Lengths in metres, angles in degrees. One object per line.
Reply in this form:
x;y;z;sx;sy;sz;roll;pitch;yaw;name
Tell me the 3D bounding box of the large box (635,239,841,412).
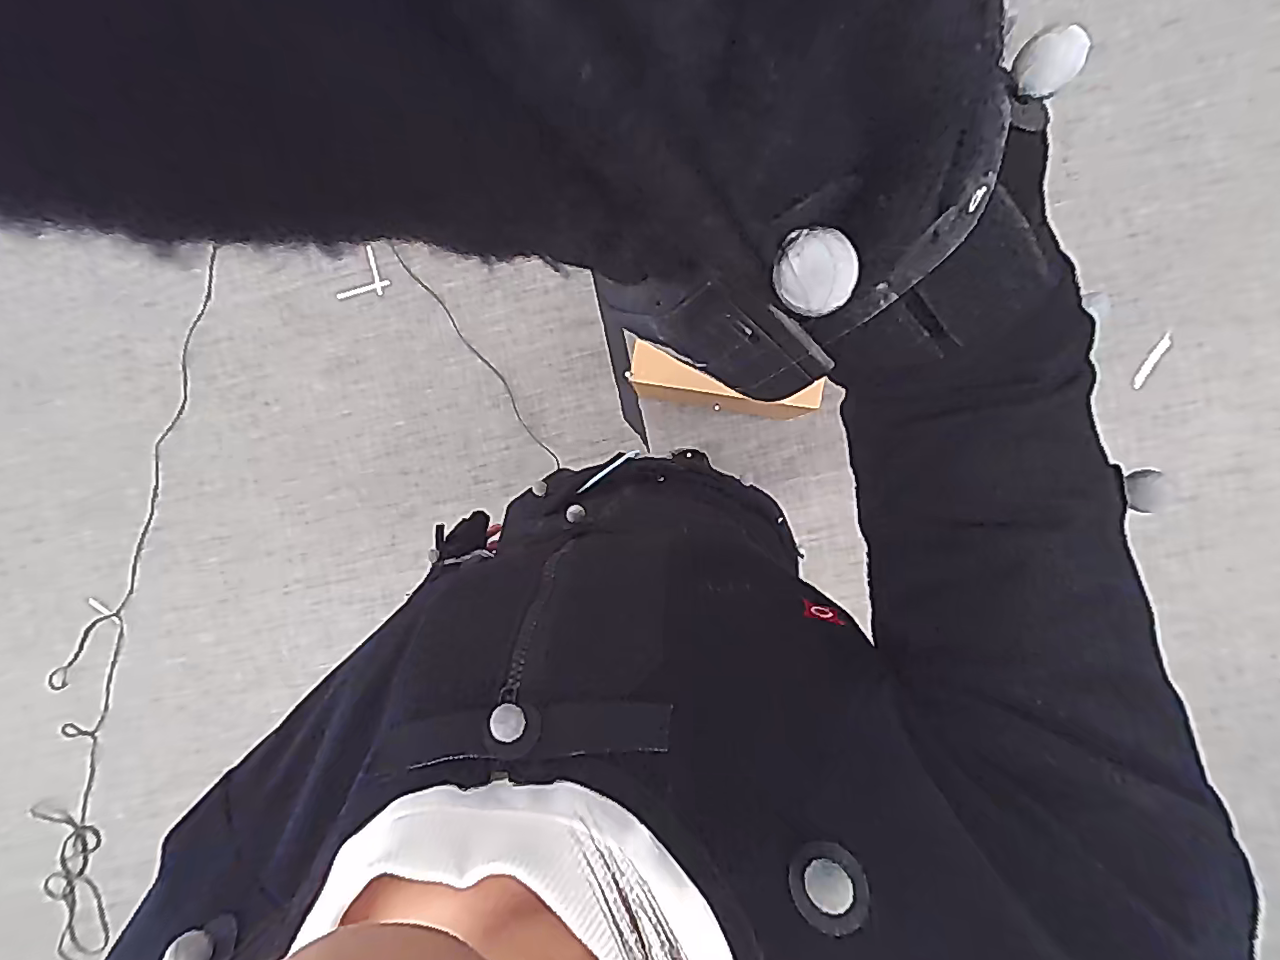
0.218;-0.345;1.292;0.408;0.320;0.320;9;92;4;large box
